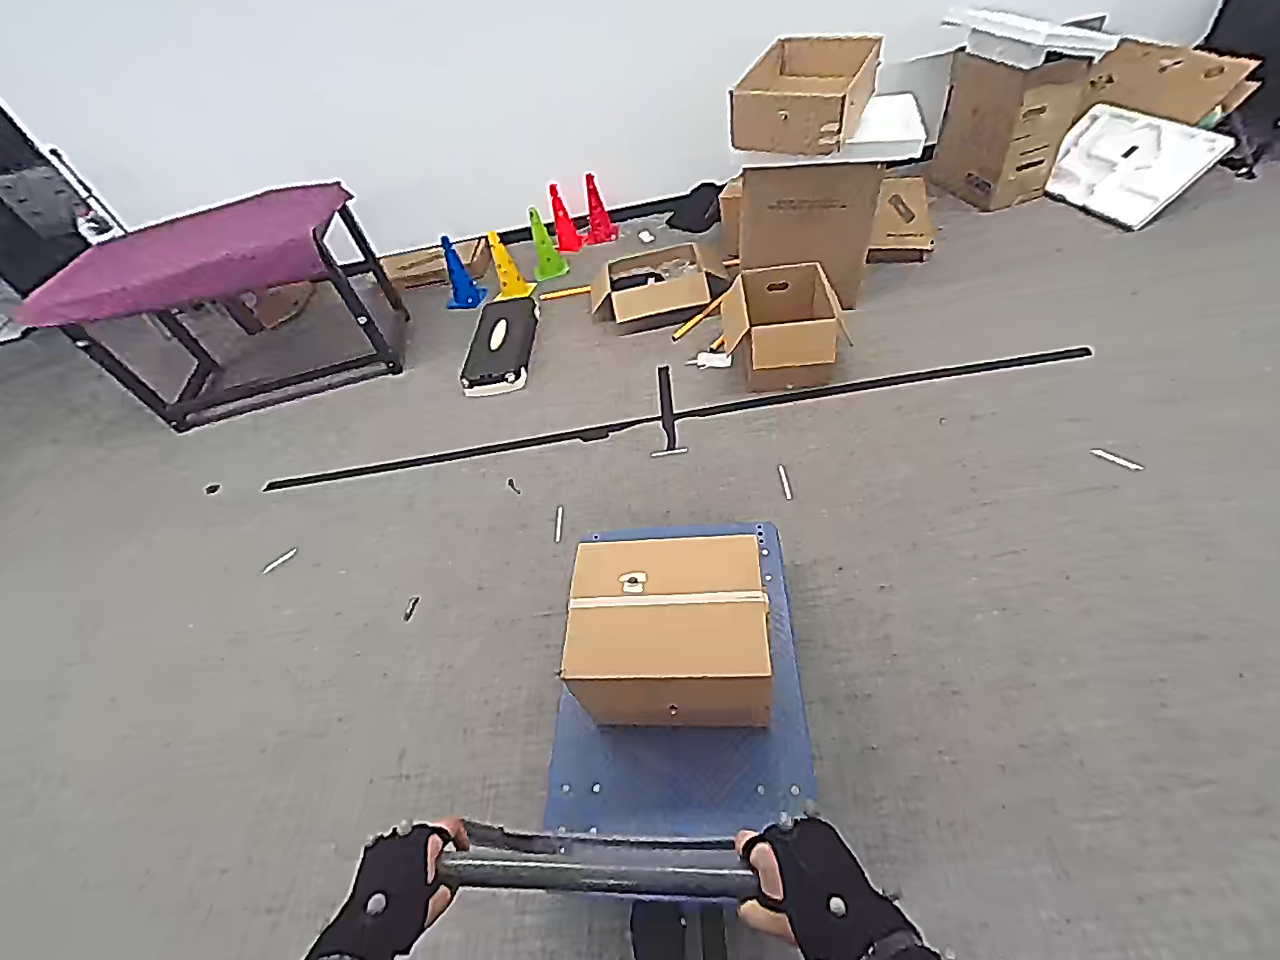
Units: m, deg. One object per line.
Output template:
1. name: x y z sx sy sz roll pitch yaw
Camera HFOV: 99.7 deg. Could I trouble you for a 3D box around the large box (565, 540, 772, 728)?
1. large box: 0.080 0.364 1.240 0.408 0.320 0.320 -5 48 10
